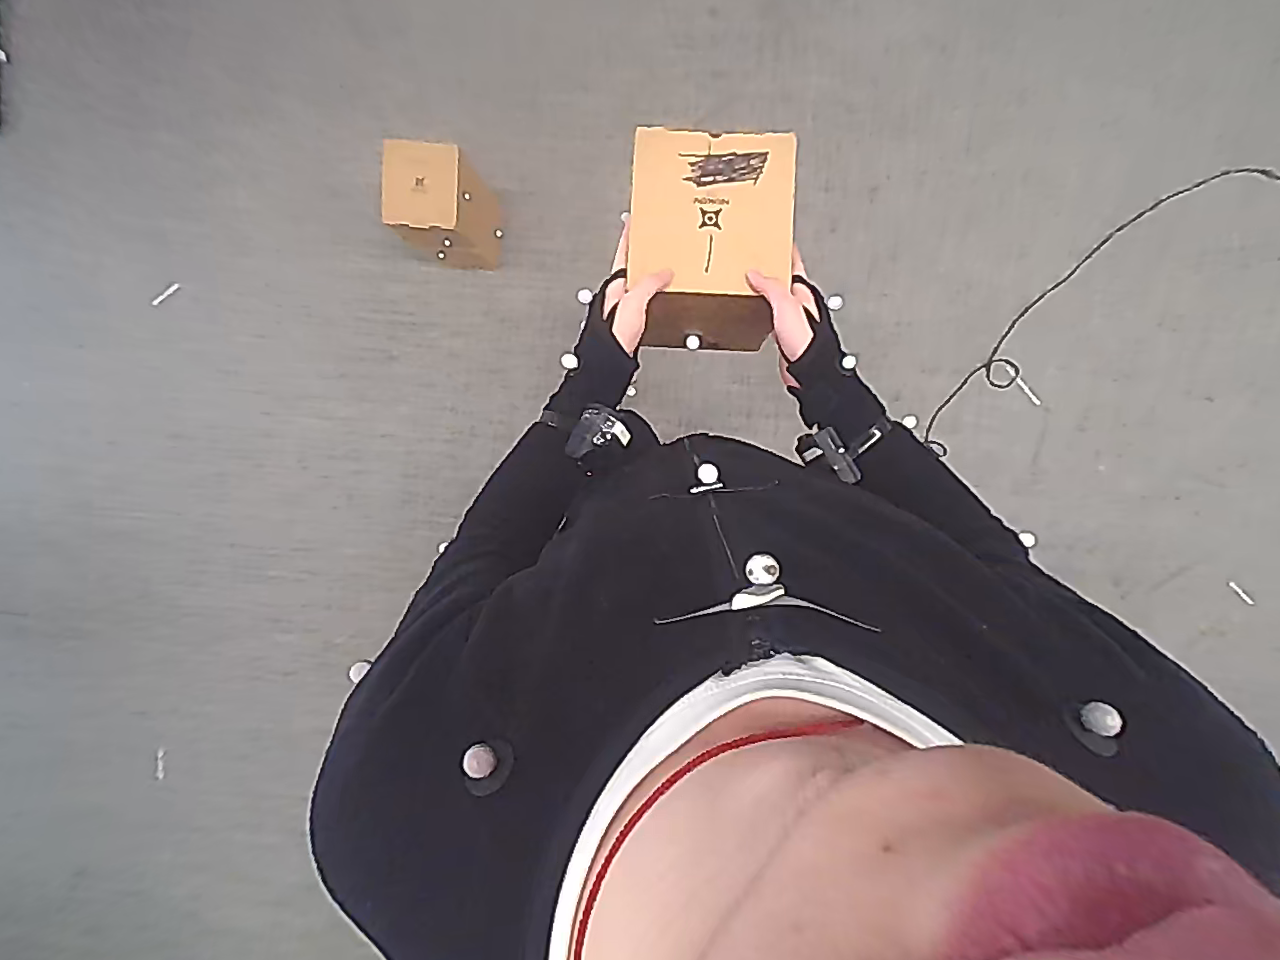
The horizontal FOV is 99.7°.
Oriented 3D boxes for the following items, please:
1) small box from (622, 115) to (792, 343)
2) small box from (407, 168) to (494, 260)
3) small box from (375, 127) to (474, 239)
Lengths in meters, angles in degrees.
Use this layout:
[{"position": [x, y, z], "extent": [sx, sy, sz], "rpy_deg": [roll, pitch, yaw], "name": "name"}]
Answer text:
[{"position": [0.068, -0.274, 0.621], "extent": [0.168, 0.176, 0.179], "rpy_deg": [3, 86, 1], "name": "small box"}, {"position": [-0.484, -0.689, 1.400], "extent": [0.168, 0.176, 0.179], "rpy_deg": [6, 97, 0], "name": "small box"}, {"position": [-0.486, -0.670, 1.239], "extent": [0.168, 0.176, 0.179], "rpy_deg": [3, 96, 0], "name": "small box"}]
